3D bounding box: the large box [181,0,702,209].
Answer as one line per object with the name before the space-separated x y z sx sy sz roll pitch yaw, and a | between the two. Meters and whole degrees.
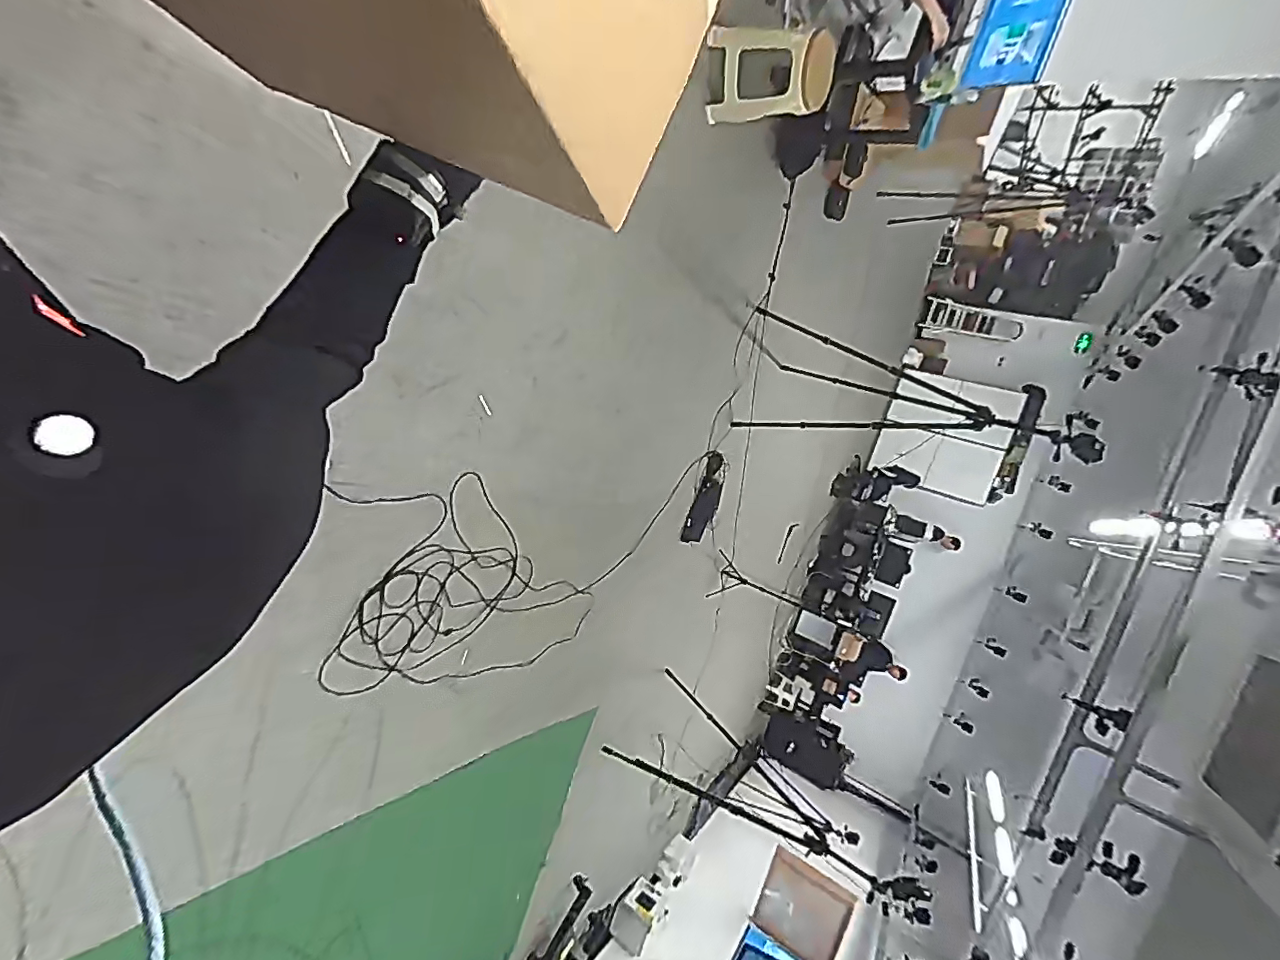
large box | -0.129 -0.377 0.200 0.320 0.320 0.408 -65 175 9
